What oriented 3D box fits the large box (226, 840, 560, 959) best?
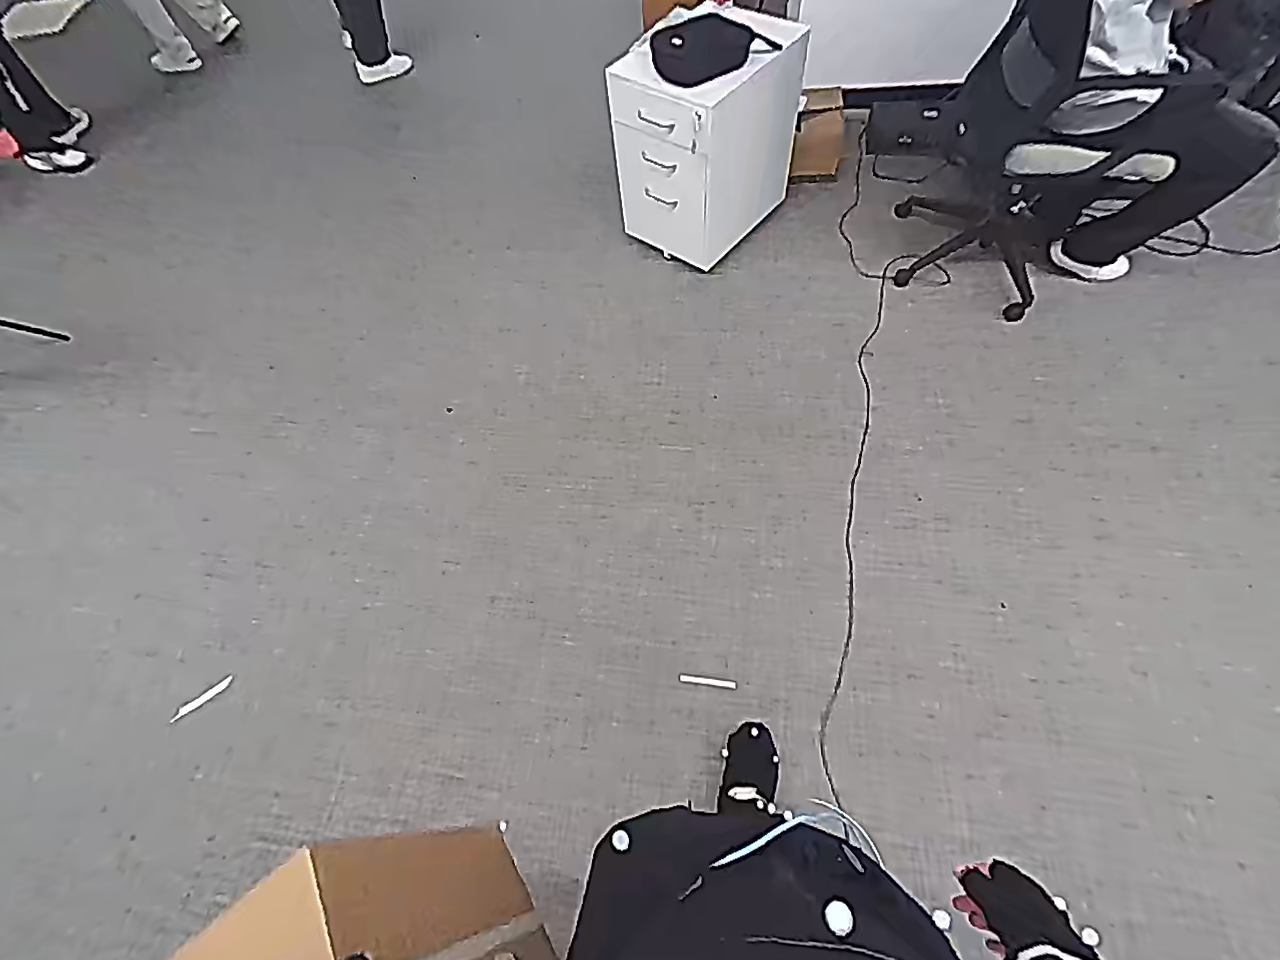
[{"bbox_3d":[-0.321,0.710,0.661,0.320,0.408,0.320,-40,56,-6],"label":"large box"}]
